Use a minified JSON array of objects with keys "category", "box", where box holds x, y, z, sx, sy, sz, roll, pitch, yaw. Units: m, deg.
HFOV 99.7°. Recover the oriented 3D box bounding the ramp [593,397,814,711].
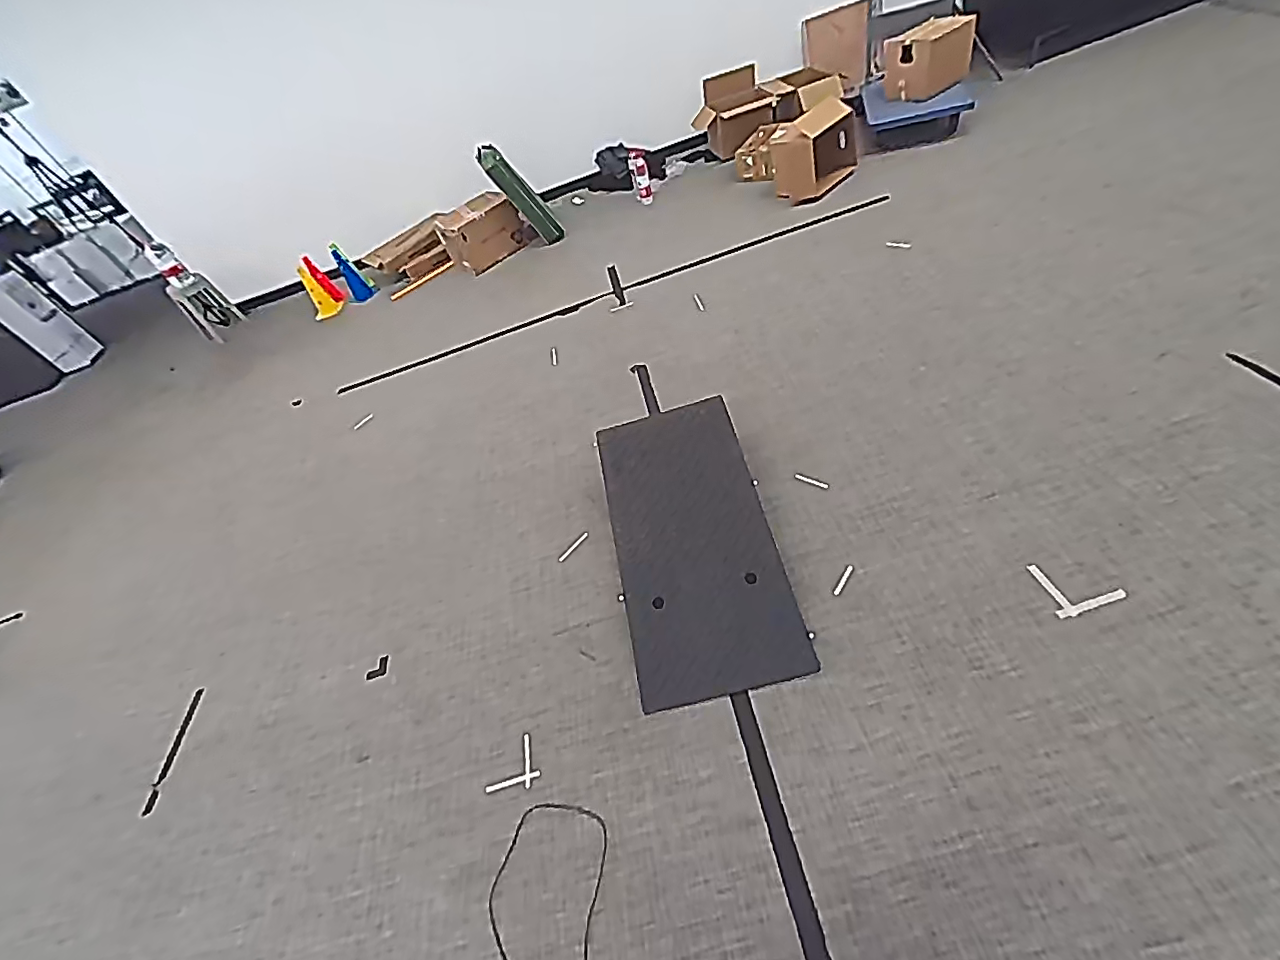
[{"category":"ramp","box":[0.148,0.166,1.731,0.509,0.206,0.991,-17,46,3]}]
